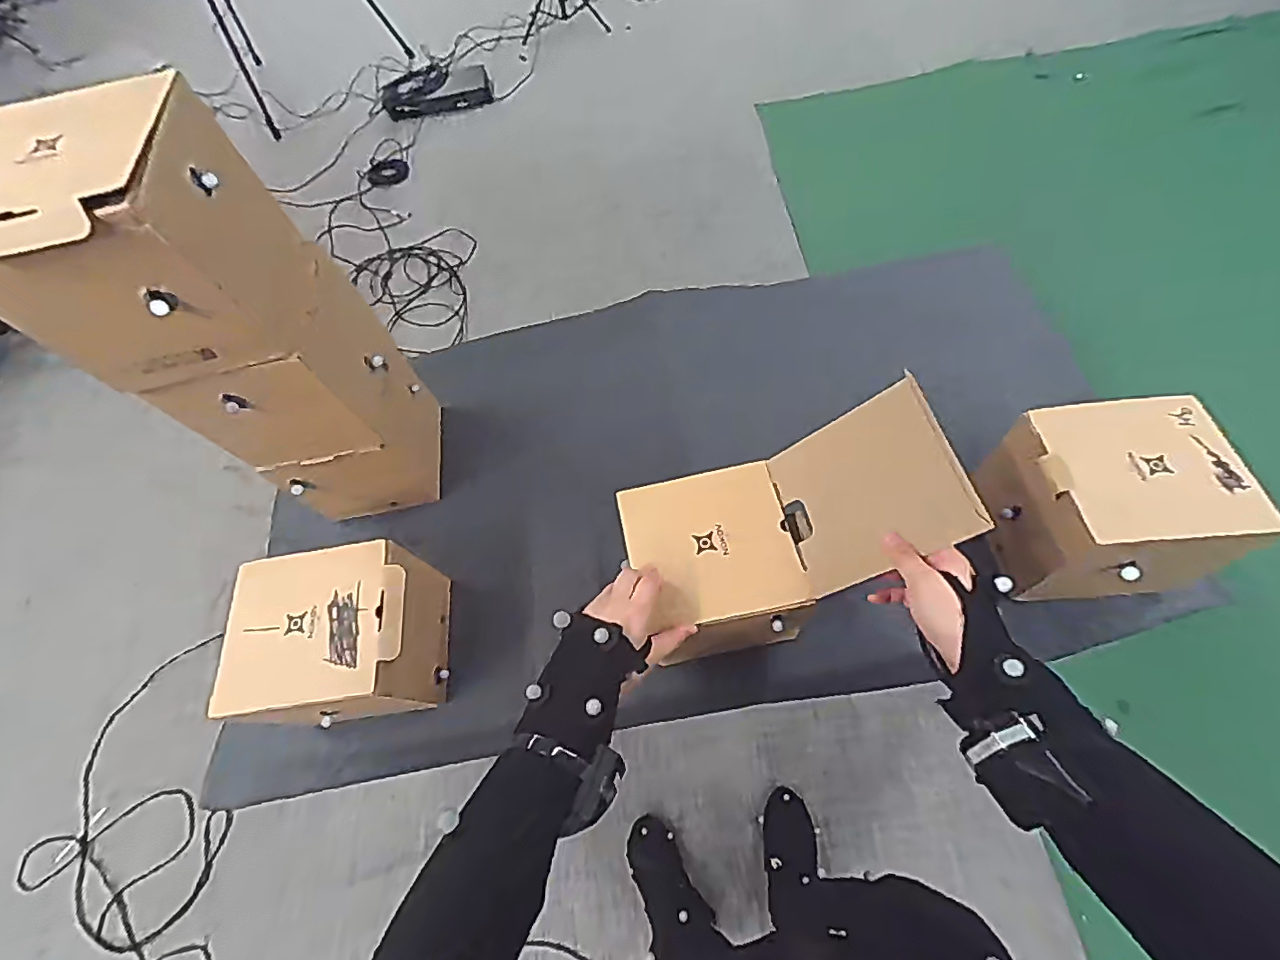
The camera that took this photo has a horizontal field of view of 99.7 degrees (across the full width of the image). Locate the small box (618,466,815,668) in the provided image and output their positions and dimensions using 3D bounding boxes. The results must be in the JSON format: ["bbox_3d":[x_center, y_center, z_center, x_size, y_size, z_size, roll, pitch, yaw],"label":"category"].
[{"bbox_3d":[0.083,0.110,0.632,0.179,0.176,0.168,-12,61,1],"label":"small box"}]

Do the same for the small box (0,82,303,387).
[{"bbox_3d":[-0.433,-0.202,0.480,0.168,0.176,0.179,-13,62,-1],"label":"small box"}]

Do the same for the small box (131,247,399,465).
[{"bbox_3d":[-0.409,-0.132,0.625,0.179,0.176,0.168,-10,64,2],"label":"small box"}]

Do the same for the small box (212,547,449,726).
[{"bbox_3d":[-0.342,0.192,0.641,0.179,0.176,0.168,-9,63,3],"label":"small box"}]

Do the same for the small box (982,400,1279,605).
[{"bbox_3d":[0.519,0.034,0.608,0.179,0.176,0.168,-5,59,5],"label":"small box"}]
